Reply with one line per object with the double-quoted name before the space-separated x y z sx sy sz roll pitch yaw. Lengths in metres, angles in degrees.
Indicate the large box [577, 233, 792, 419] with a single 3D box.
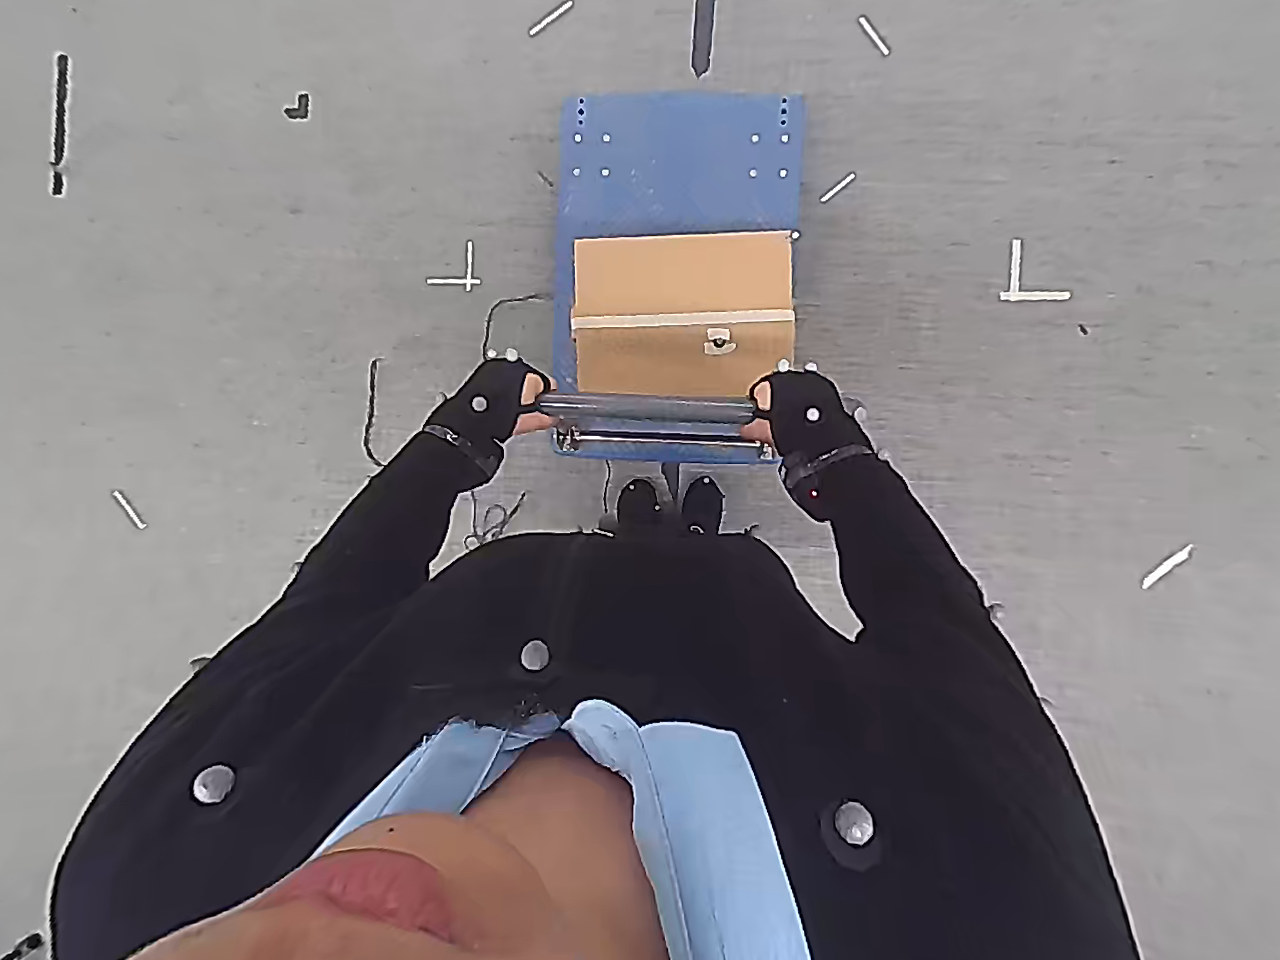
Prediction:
"large box" 0.089 -0.306 1.169 0.408 0.320 0.320 -1 92 3
